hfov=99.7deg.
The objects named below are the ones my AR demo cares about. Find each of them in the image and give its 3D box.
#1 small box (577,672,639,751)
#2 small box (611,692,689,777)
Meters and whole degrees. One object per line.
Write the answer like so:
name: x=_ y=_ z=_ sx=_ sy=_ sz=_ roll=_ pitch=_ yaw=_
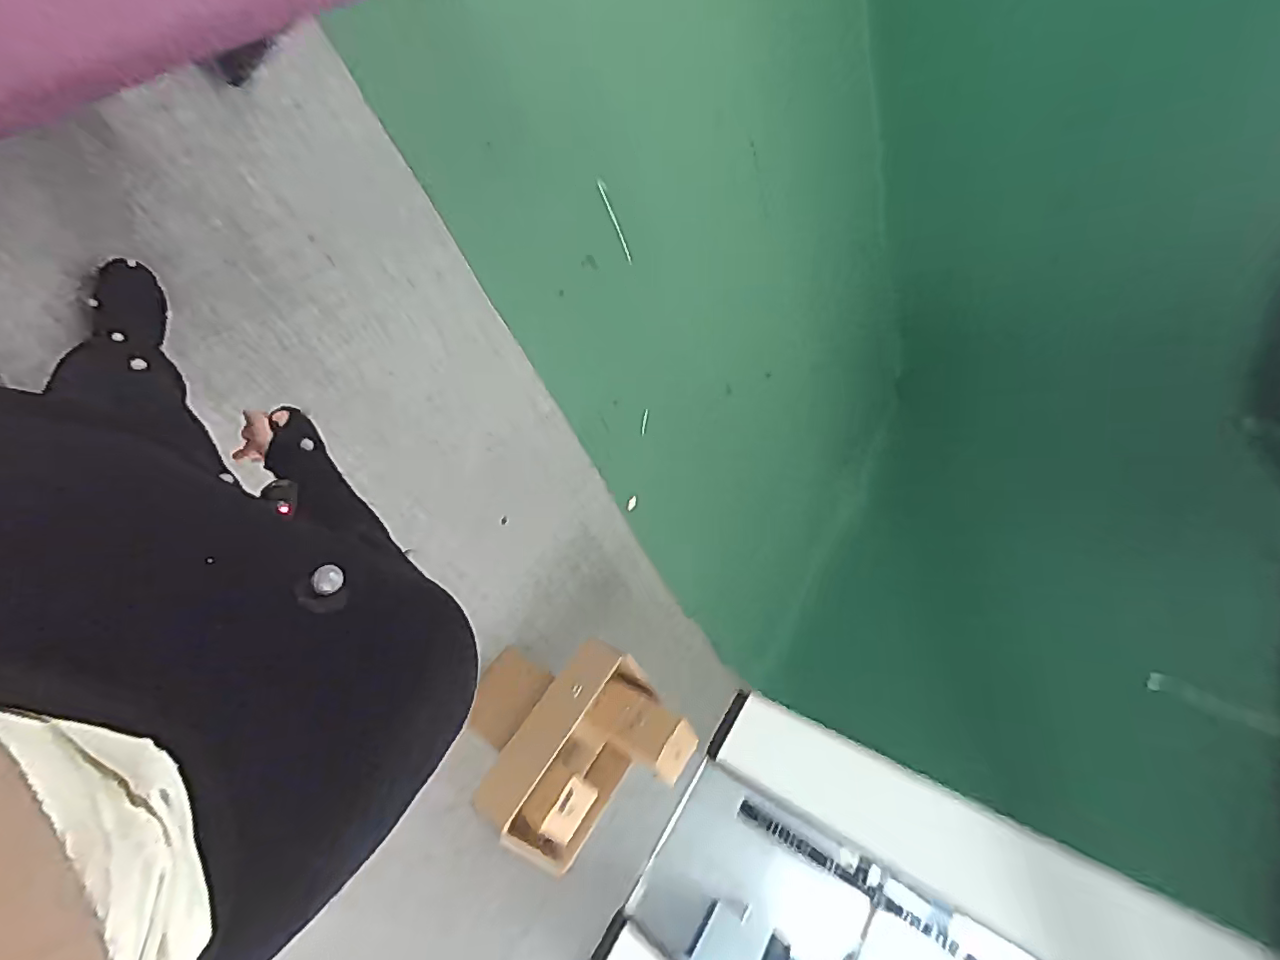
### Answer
small box: x=-0.088 y=0.811 z=1.907 sx=0.168 sy=0.176 sz=0.179 roll=-50 pitch=133 yaw=-27
small box: x=0.033 y=0.841 z=1.801 sx=0.168 sy=0.176 sz=0.179 roll=-49 pitch=132 yaw=-29
